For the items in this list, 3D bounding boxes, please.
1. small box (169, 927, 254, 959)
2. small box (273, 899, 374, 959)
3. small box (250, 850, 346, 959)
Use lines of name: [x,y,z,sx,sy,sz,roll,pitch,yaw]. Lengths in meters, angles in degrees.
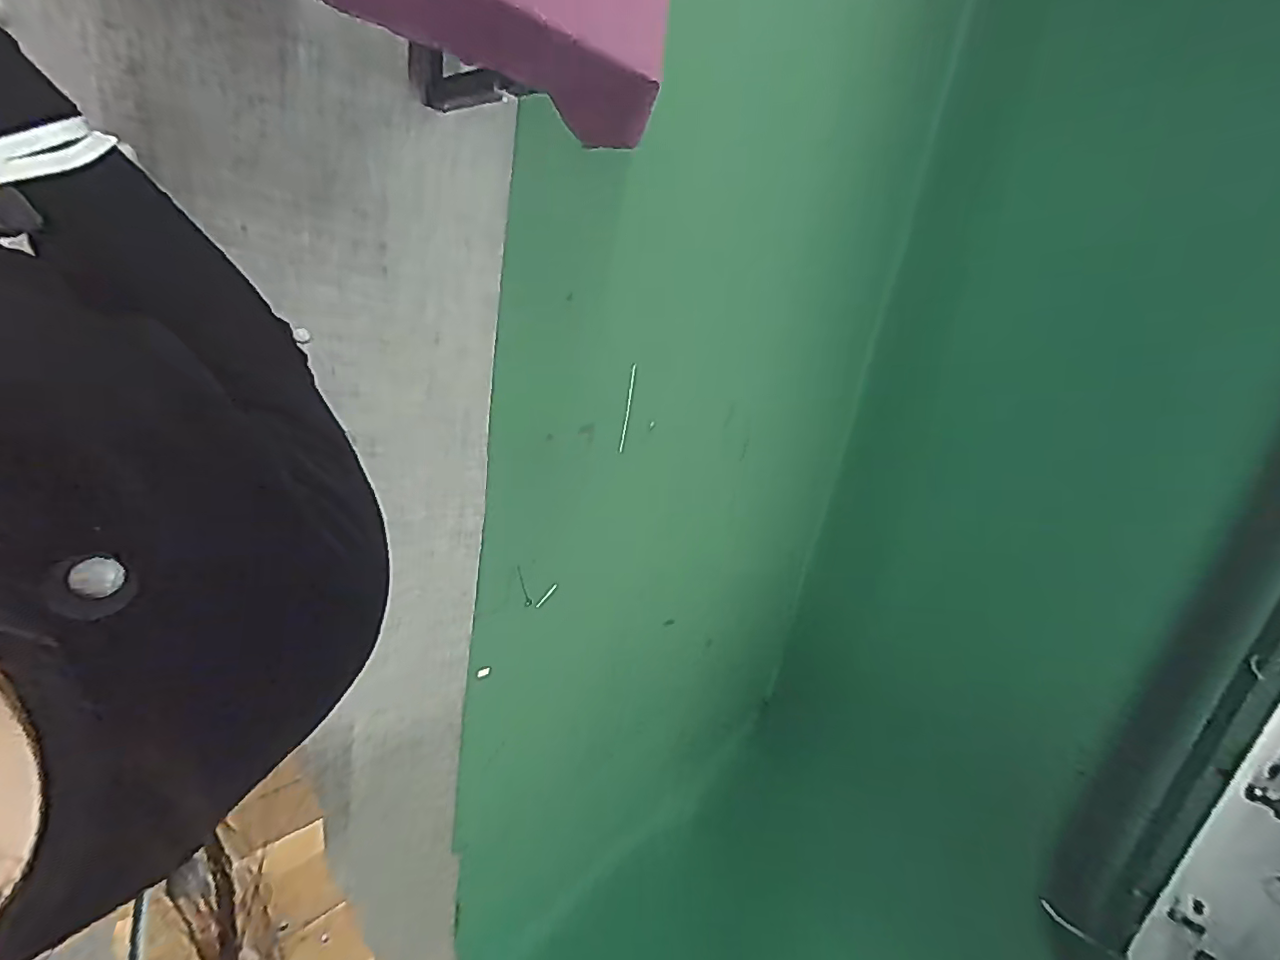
small box: [-0.877,1.067,1.081,0.168,0.176,0.179,2,108,-50]
small box: [-0.756,1.165,1.285,0.168,0.176,0.179,-9,116,-48]
small box: [-0.875,1.109,1.380,0.179,0.176,0.168,-11,120,-47]
